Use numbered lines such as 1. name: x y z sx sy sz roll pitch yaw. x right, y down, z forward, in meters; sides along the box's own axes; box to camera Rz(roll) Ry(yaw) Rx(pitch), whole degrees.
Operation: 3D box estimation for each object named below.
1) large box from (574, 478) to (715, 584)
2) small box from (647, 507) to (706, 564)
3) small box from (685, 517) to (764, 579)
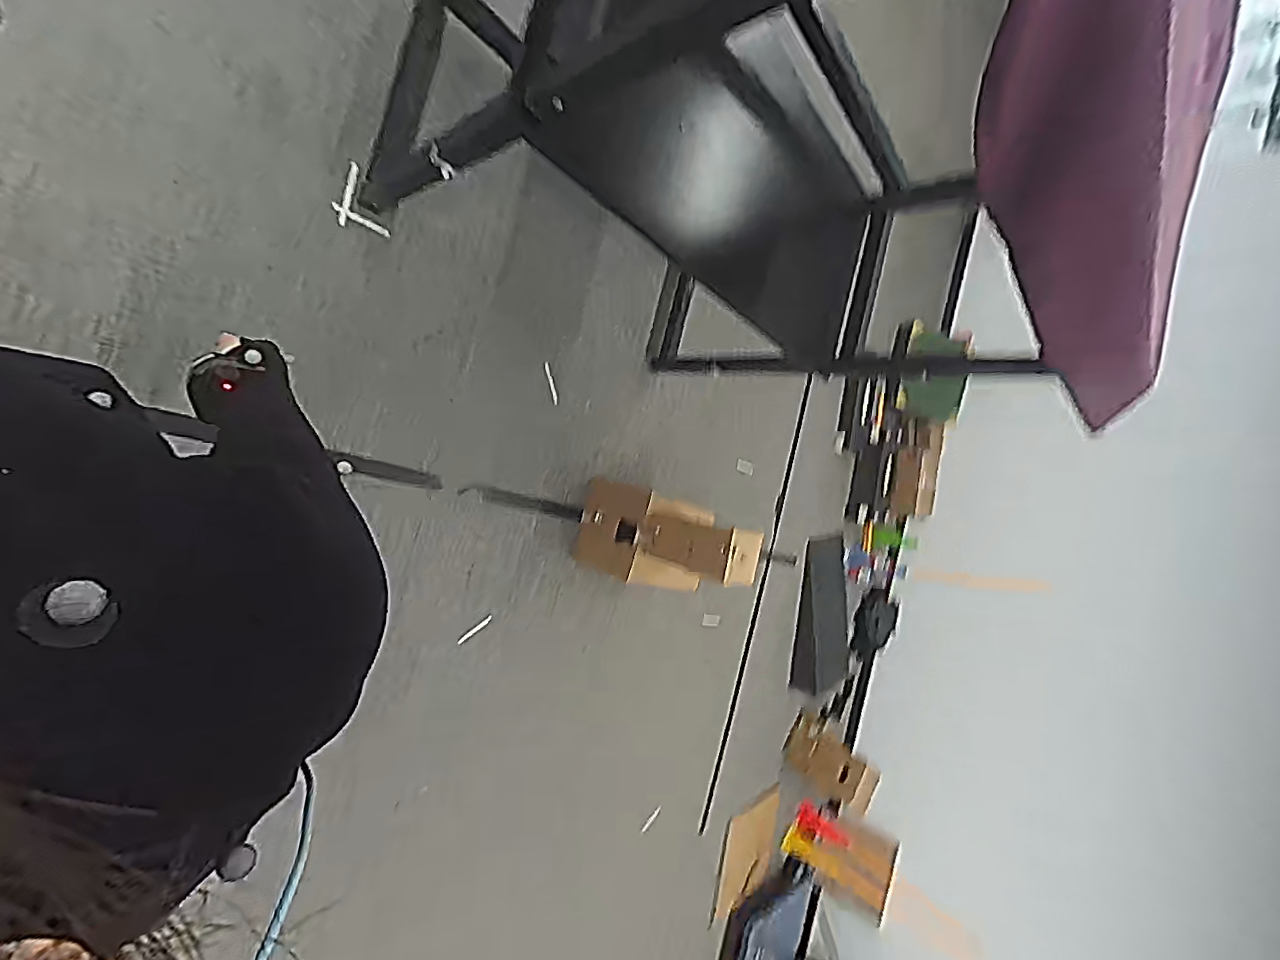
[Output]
1. large box: 0.019 0.195 2.059 0.408 0.320 0.320 18 86 -47
2. small box: 0.154 0.194 1.844 0.179 0.176 0.168 17 85 -46
3. small box: 0.270 0.216 1.730 0.179 0.176 0.168 12 88 -48
